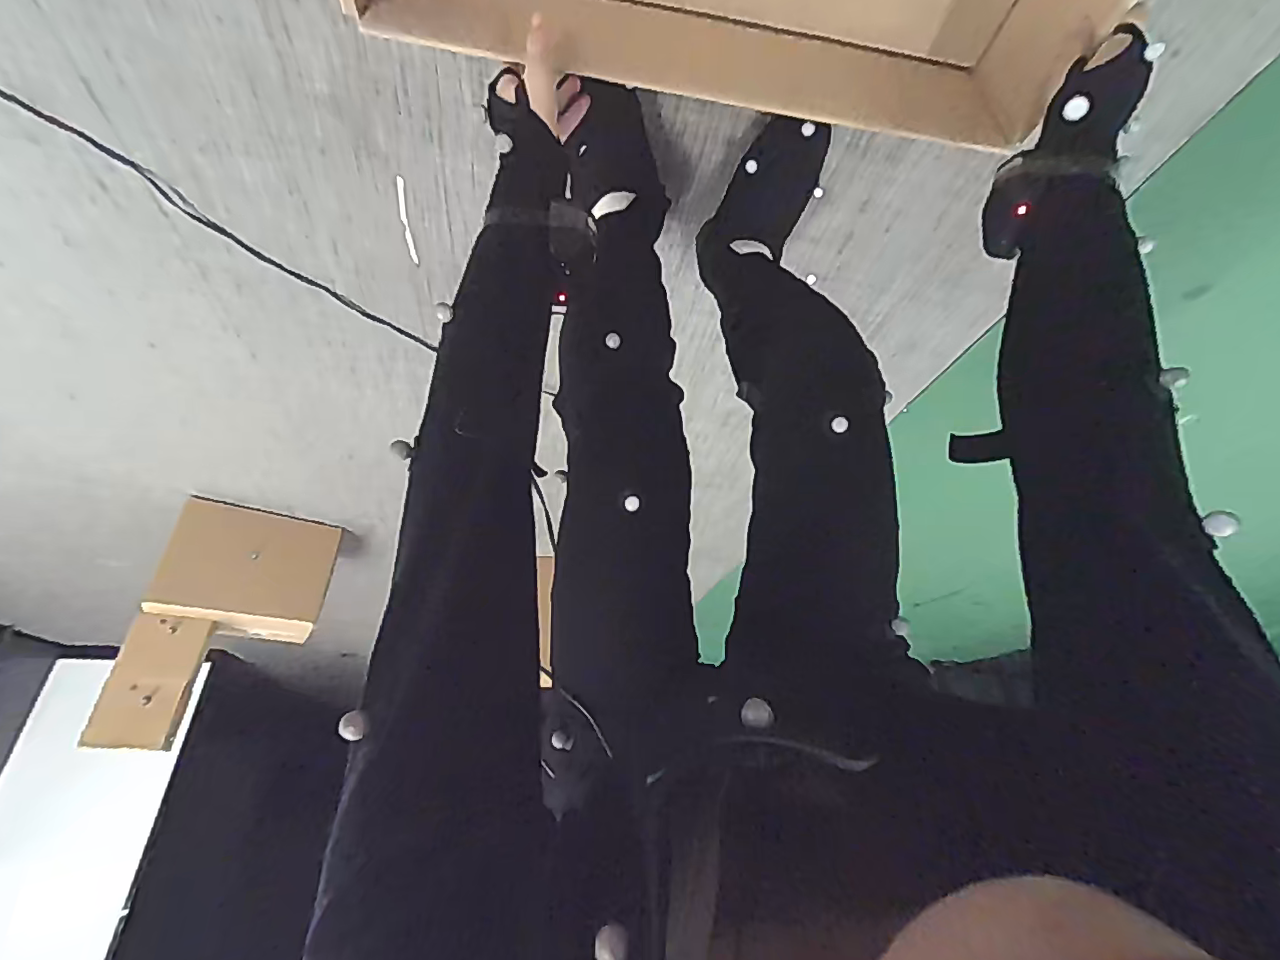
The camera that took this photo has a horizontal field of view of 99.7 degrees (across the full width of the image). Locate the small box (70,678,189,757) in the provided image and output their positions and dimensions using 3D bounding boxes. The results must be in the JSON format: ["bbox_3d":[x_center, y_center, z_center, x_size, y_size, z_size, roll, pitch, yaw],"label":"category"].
[{"bbox_3d":[-1.311,0.621,1.405,0.168,0.176,0.179,17,146,-27],"label":"small box"}]
